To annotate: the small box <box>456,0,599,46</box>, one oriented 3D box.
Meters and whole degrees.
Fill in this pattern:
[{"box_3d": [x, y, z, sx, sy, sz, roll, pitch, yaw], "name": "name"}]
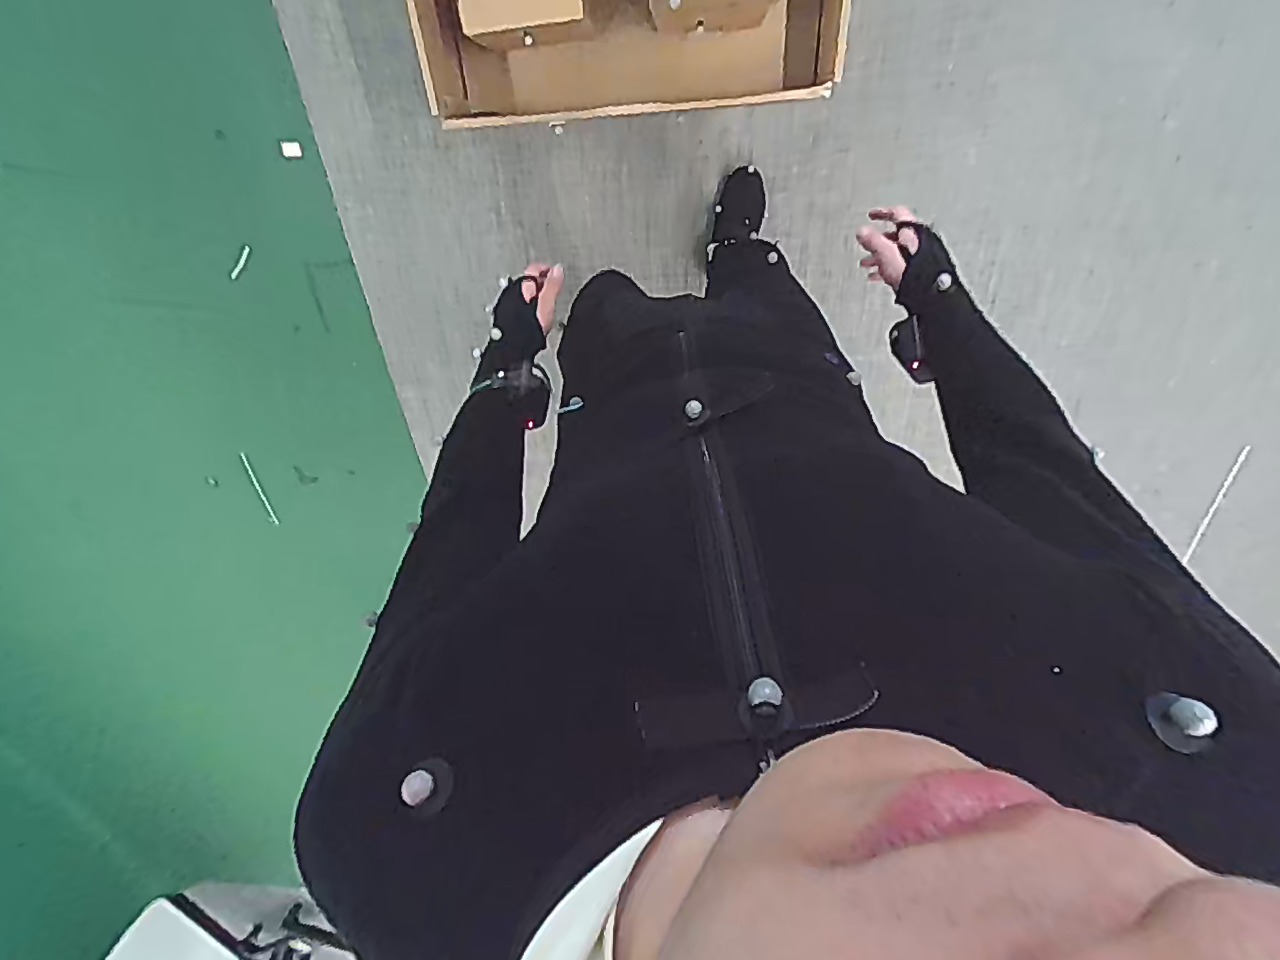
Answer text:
[{"box_3d": [-0.162, -0.742, 0.772, 0.179, 0.176, 0.168, -2, 121, 5], "name": "small box"}]
